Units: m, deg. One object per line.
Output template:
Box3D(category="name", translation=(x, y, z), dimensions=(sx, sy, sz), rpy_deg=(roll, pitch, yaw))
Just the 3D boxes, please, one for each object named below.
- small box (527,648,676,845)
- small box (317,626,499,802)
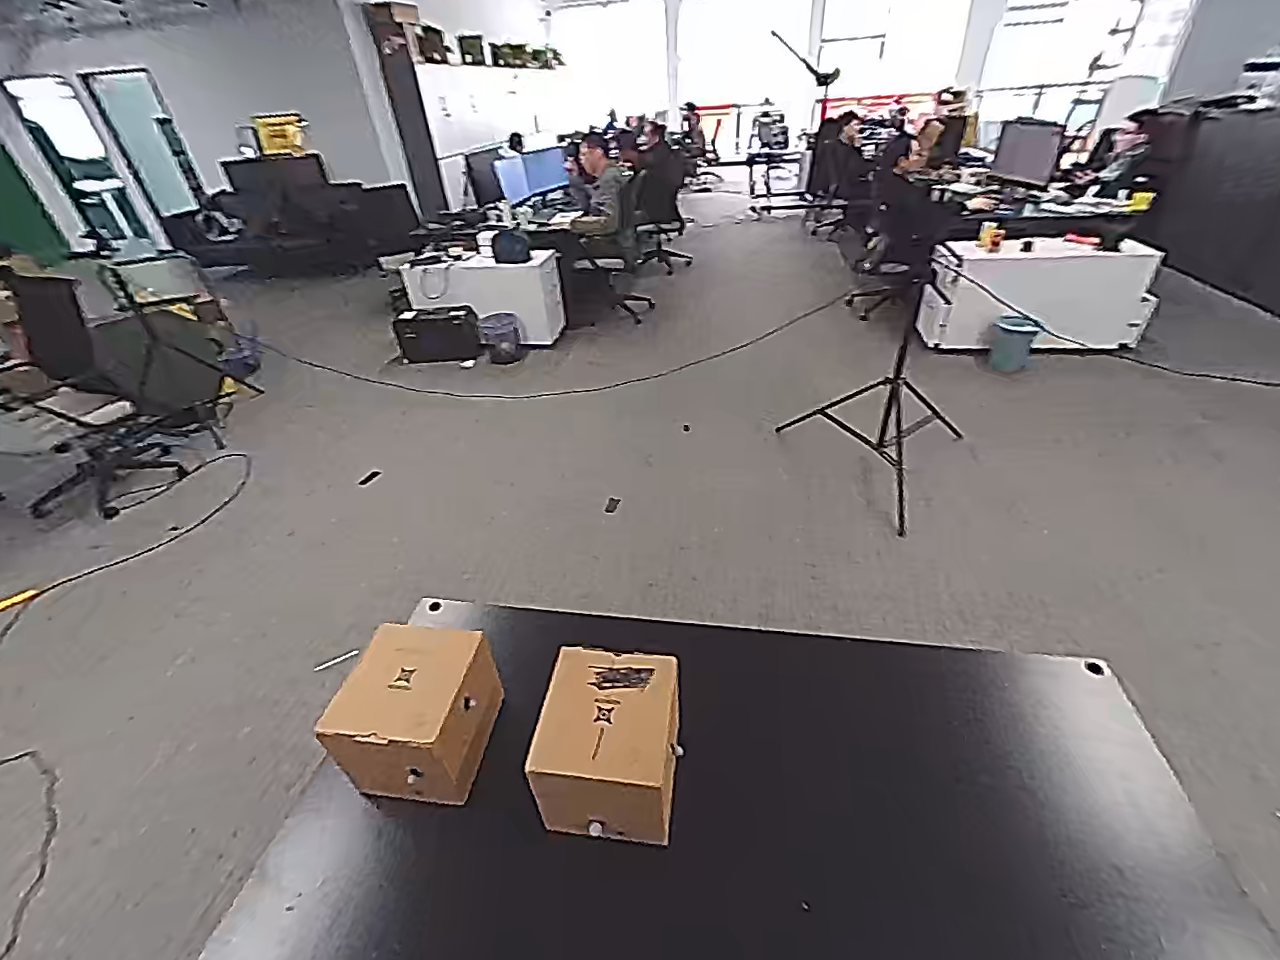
Box3D(category="small box", translation=(-0.039, 0.360, 0.741), dimensions=(0.168, 0.176, 0.179), rpy_deg=(2, 37, 9))
Box3D(category="small box", translation=(-0.321, 0.342, 0.795), dimensions=(0.168, 0.176, 0.179), rpy_deg=(3, 36, 7))
